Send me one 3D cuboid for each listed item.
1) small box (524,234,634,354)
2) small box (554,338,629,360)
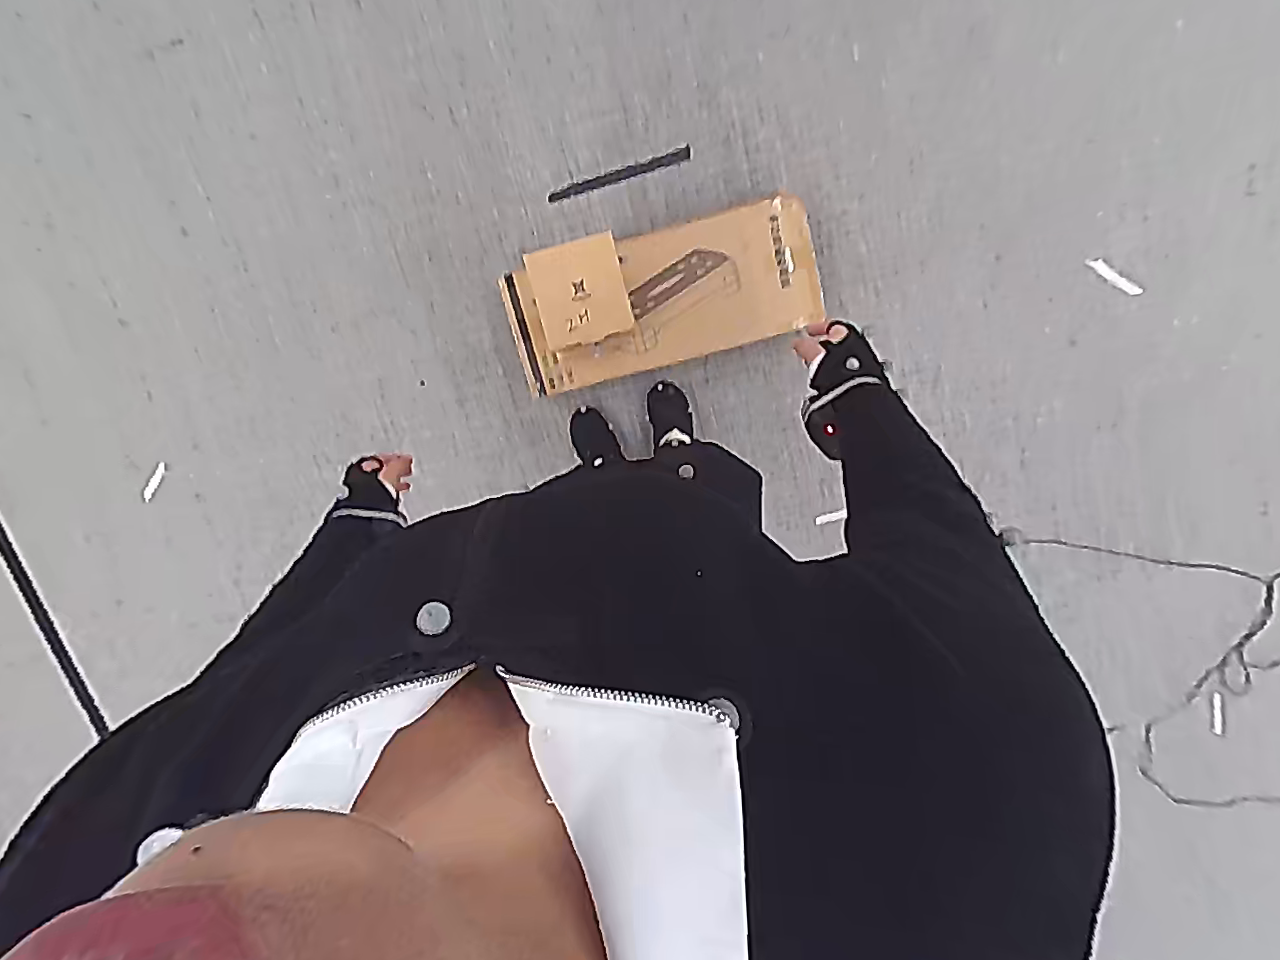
[{"bbox_3d":[-0.110,-0.353,1.057,0.168,0.176,0.179,-14,101,4],"label":"small box"},{"bbox_3d":[-0.125,-0.376,1.222,0.168,0.176,0.179,-15,102,4],"label":"small box"}]
